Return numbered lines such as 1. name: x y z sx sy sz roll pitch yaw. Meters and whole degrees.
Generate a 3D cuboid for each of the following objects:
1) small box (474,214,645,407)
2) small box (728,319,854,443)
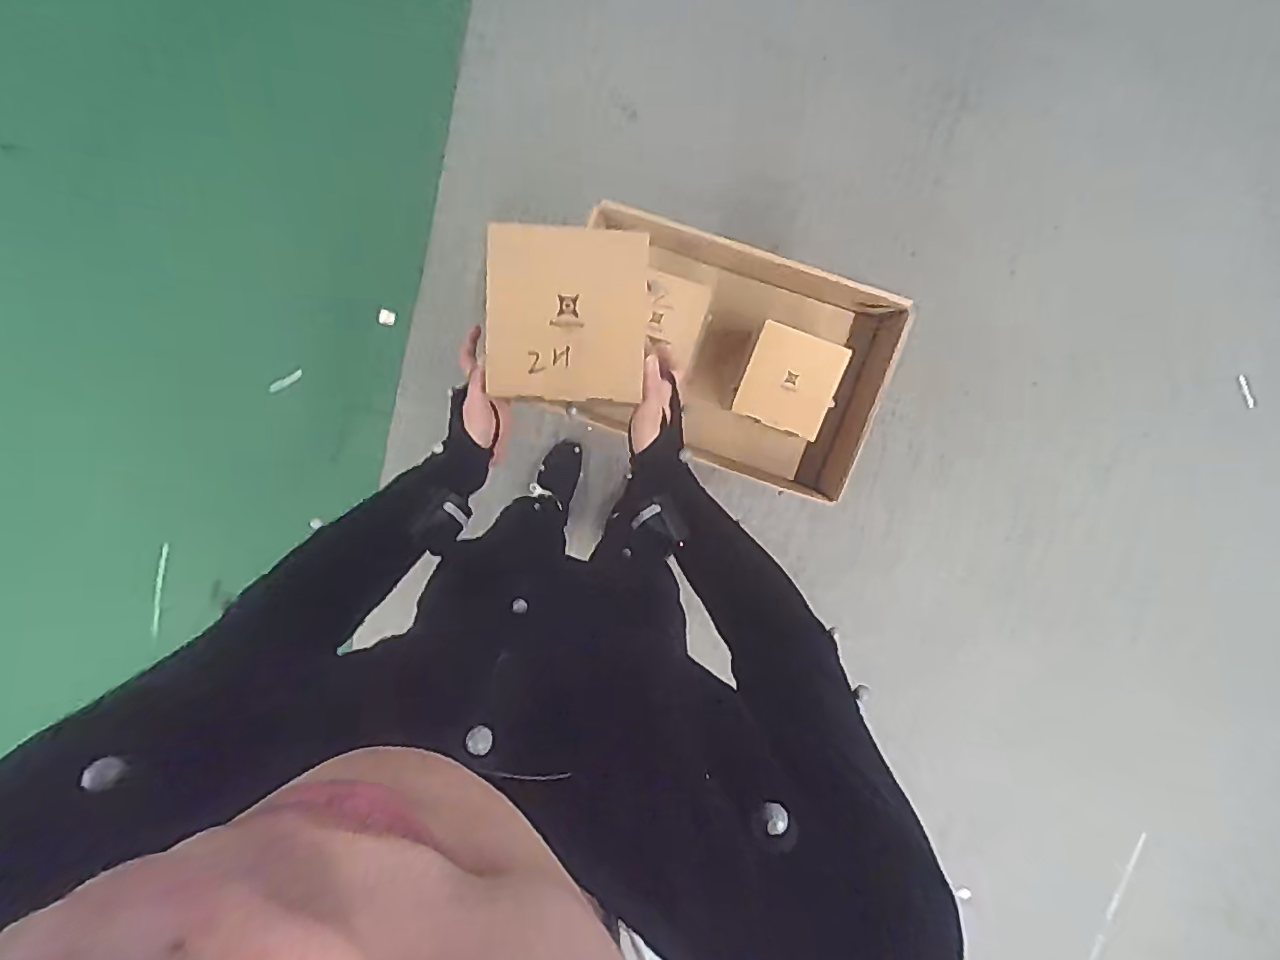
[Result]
1. small box: -0.085 -0.178 0.618 0.168 0.176 0.179 2 96 -3
2. small box: 0.275 -0.186 1.036 0.168 0.176 0.179 21 100 1
